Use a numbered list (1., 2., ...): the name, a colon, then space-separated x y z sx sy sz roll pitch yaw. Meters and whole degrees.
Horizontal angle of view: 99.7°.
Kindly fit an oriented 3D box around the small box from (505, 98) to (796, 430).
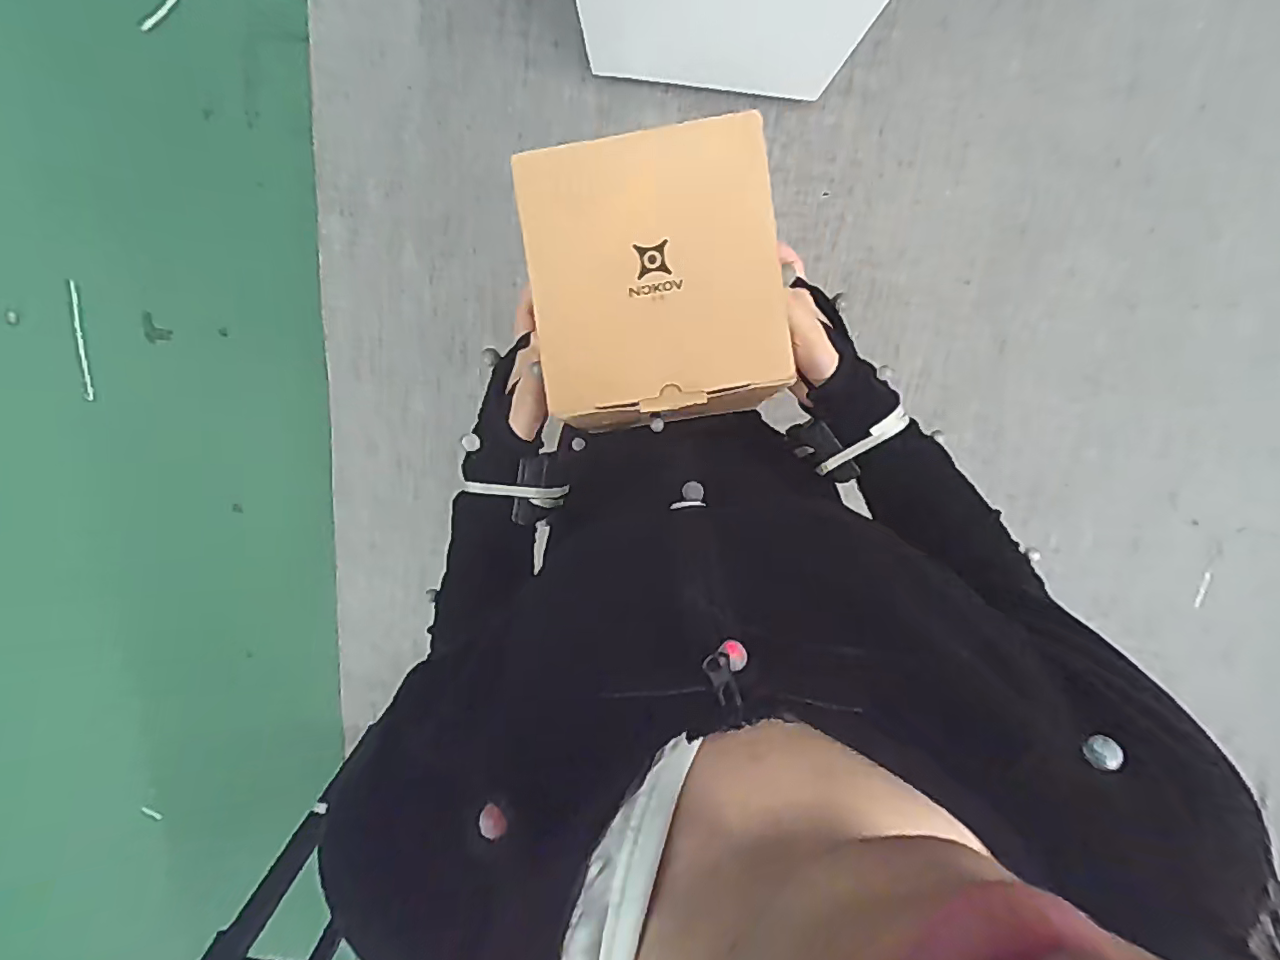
1. small box: 0.009 -0.141 0.418 0.168 0.176 0.179 -9 91 3
